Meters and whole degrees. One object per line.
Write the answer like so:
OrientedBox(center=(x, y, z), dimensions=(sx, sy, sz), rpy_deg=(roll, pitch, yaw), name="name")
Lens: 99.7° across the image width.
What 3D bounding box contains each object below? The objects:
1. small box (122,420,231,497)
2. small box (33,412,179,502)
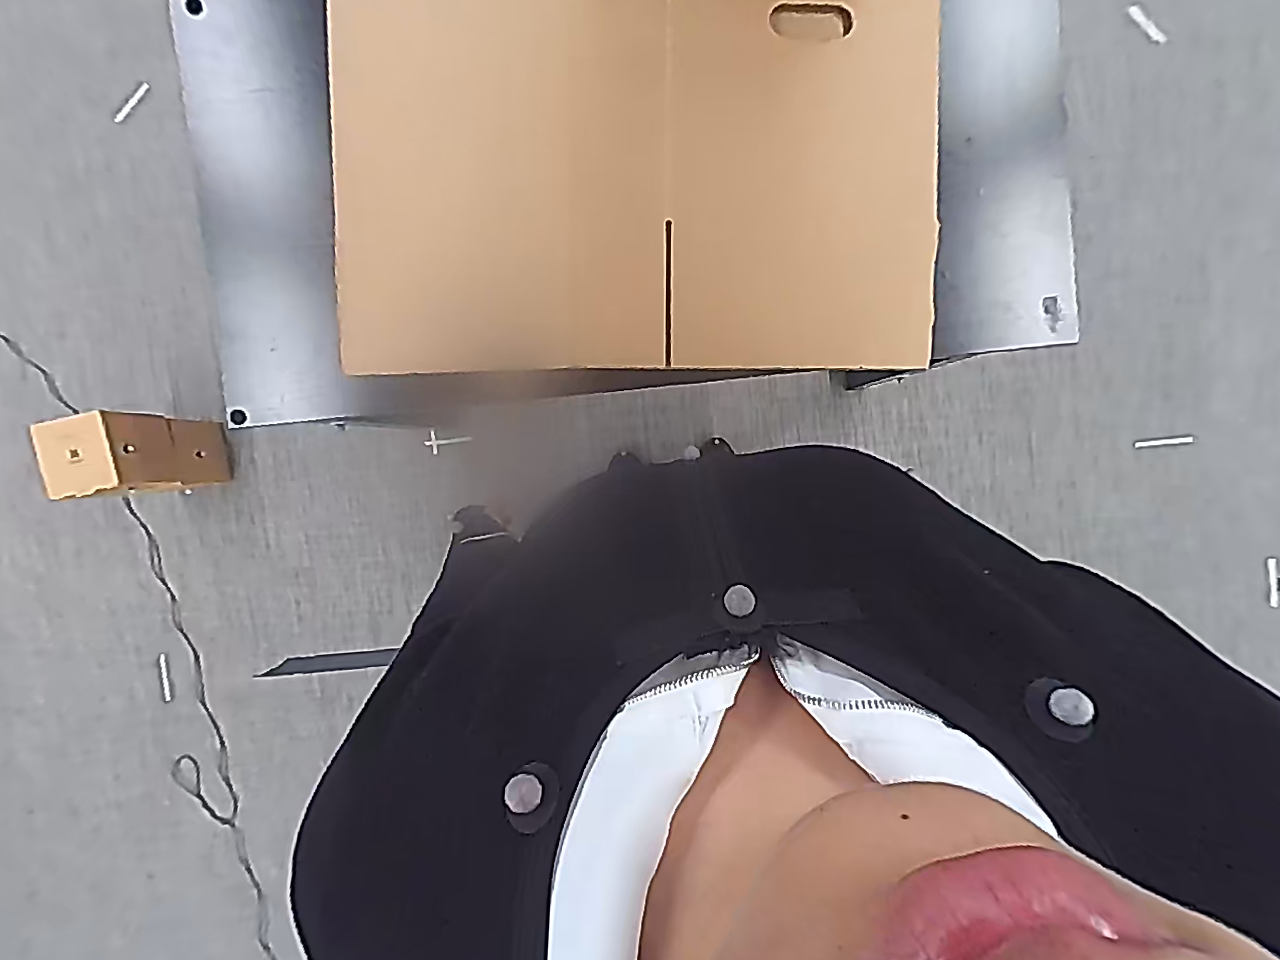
OrientedBox(center=(-1.247, -0.058, 1.446), dimensions=(0.168, 0.176, 0.179), rpy_deg=(-10, 93, 2), name="small box")
OrientedBox(center=(-1.253, -0.055, 1.283), dimensions=(0.168, 0.176, 0.179), rpy_deg=(-13, 92, 1), name="small box")
